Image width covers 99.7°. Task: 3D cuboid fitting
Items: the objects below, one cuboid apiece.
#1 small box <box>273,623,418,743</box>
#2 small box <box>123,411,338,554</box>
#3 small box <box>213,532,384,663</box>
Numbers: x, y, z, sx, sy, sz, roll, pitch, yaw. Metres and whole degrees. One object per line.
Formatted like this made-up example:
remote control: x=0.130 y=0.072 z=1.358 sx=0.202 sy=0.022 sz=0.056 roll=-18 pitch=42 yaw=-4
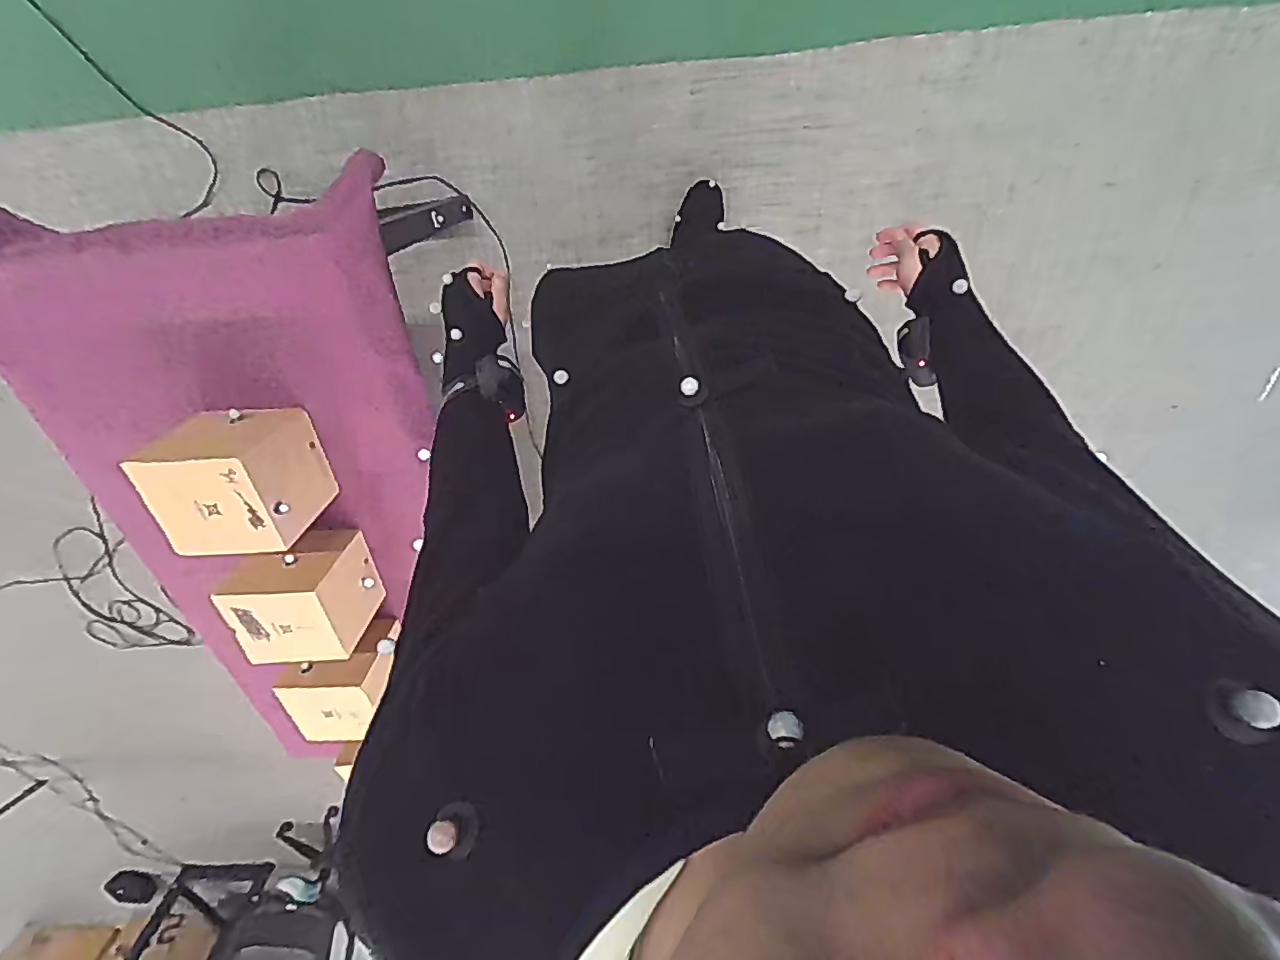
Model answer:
small box: x=-0.585 y=0.408 z=1.099 sx=0.179 sy=0.176 sz=0.168 roll=-3 pitch=122 yaw=3
small box: x=-0.620 y=0.000 z=0.848 sx=0.179 sy=0.176 sz=0.168 roll=-2 pitch=122 yaw=3
small box: x=-0.599 y=0.208 z=0.976 sx=0.179 sy=0.176 sz=0.168 roll=-2 pitch=122 yaw=2
